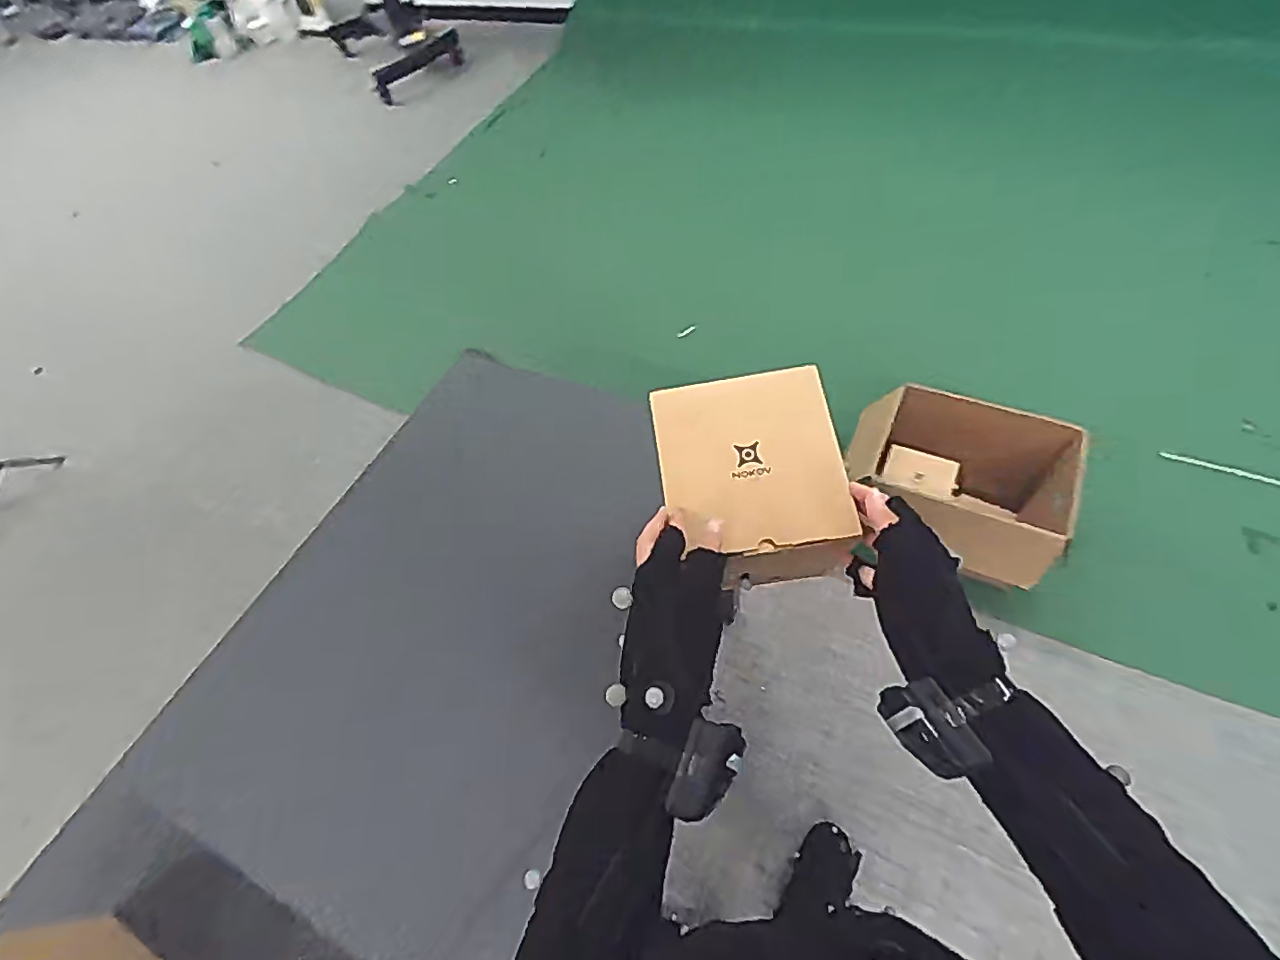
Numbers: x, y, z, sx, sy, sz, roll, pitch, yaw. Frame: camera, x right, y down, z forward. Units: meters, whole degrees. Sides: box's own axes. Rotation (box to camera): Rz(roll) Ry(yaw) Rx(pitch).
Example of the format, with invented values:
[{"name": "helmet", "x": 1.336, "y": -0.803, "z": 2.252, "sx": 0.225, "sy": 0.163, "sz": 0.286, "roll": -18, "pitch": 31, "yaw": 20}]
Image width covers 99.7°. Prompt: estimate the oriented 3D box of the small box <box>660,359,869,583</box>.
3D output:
[{"name": "small box", "x": 0.115, "y": 0.001, "z": 0.572, "sx": 0.168, "sy": 0.176, "sz": 0.179, "roll": -9, "pitch": 70, "yaw": 4}]
